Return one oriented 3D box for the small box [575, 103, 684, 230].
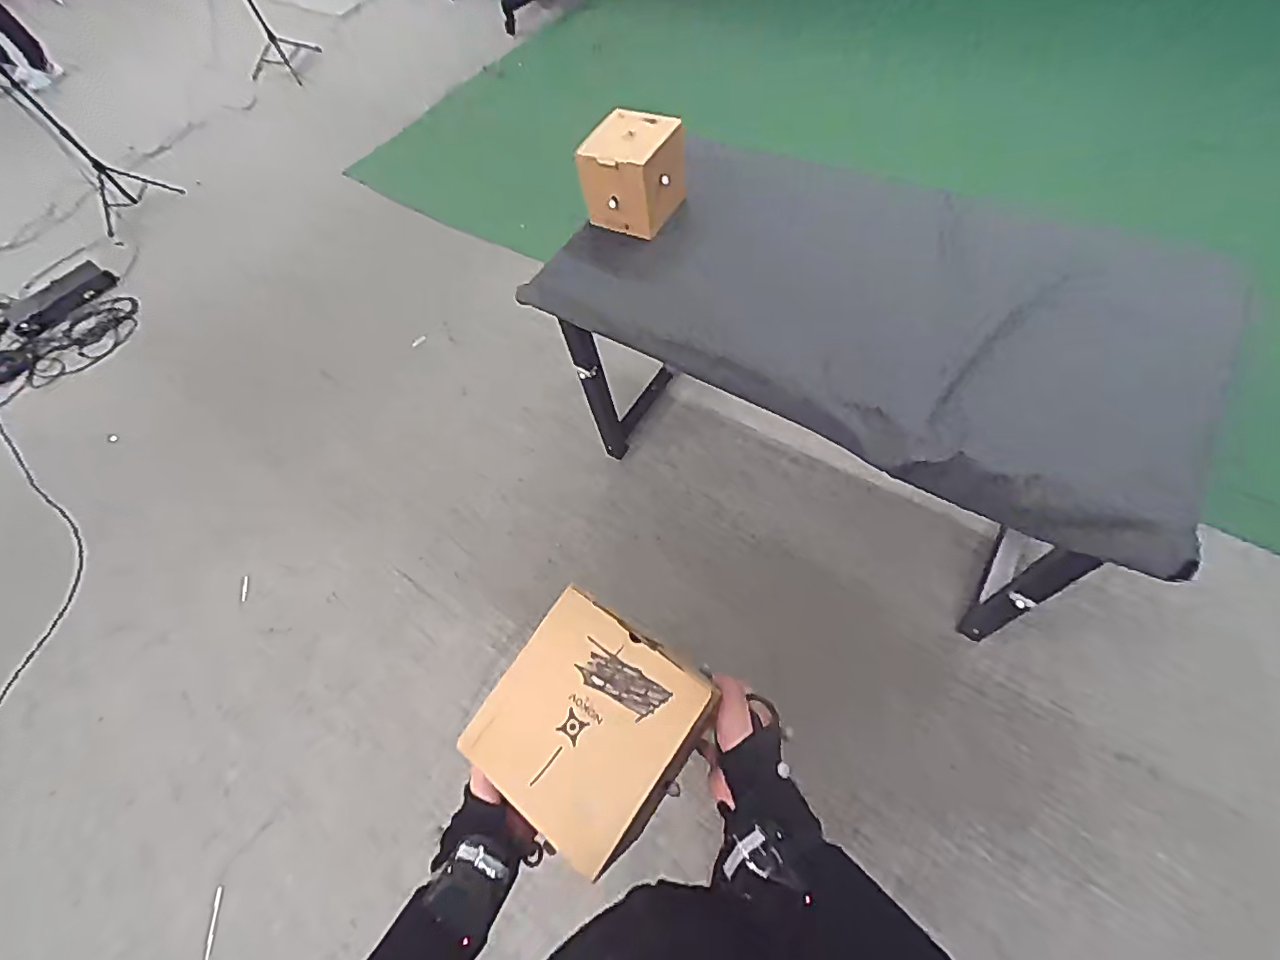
[{"bbox_3d":[-0.012,-0.682,1.186,0.168,0.176,0.179,24,68,20],"label":"small box"}]
